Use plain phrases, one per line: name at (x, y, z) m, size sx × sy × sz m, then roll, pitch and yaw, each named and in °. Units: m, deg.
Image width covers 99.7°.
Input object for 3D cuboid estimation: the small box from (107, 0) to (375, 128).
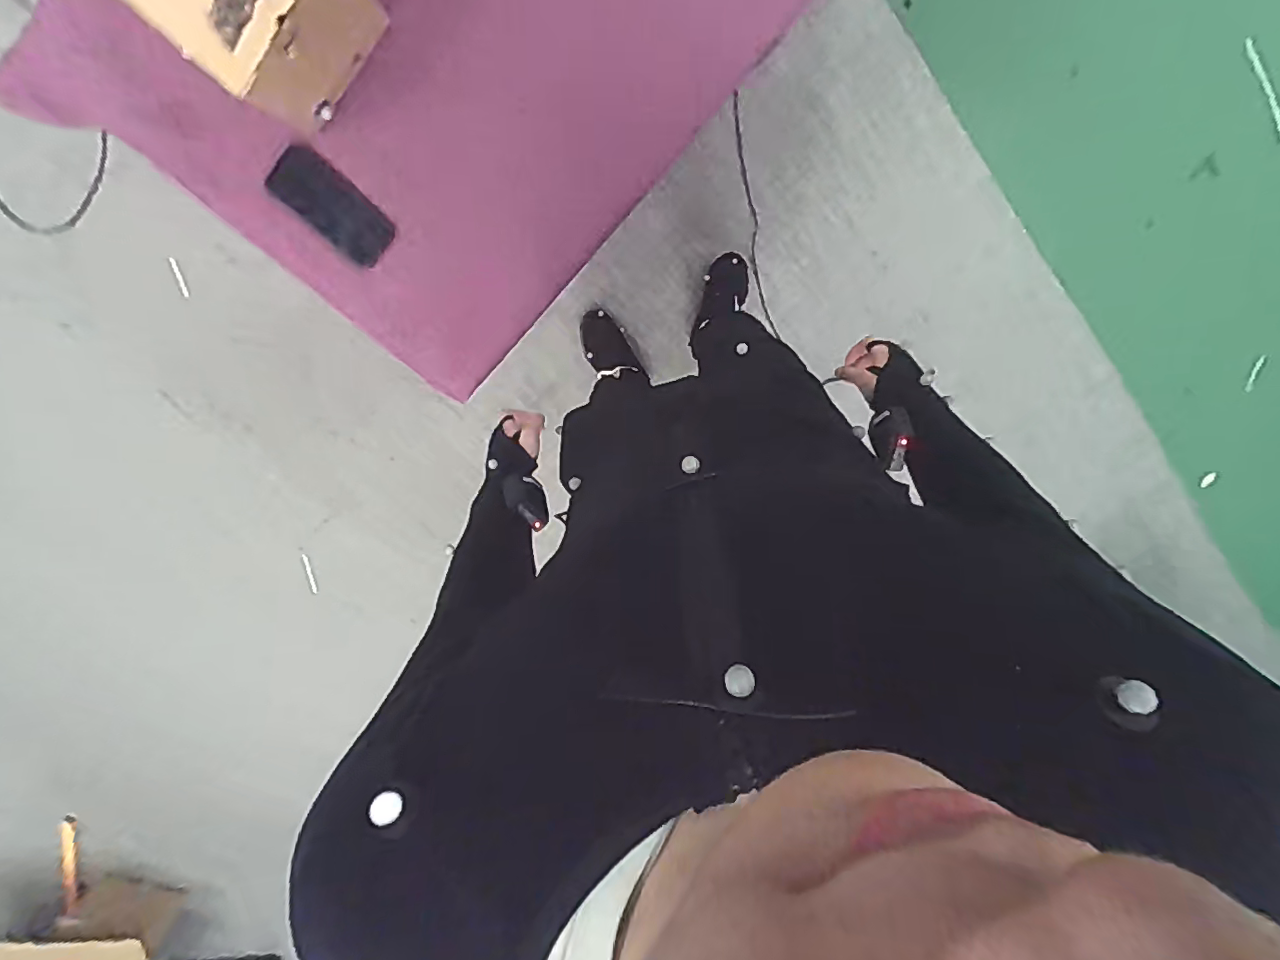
small box at (-0.414, -0.503, 0.558) m, size 0.179 × 0.176 × 0.168 m, roll 39°, pitch 102°, yaw -17°
